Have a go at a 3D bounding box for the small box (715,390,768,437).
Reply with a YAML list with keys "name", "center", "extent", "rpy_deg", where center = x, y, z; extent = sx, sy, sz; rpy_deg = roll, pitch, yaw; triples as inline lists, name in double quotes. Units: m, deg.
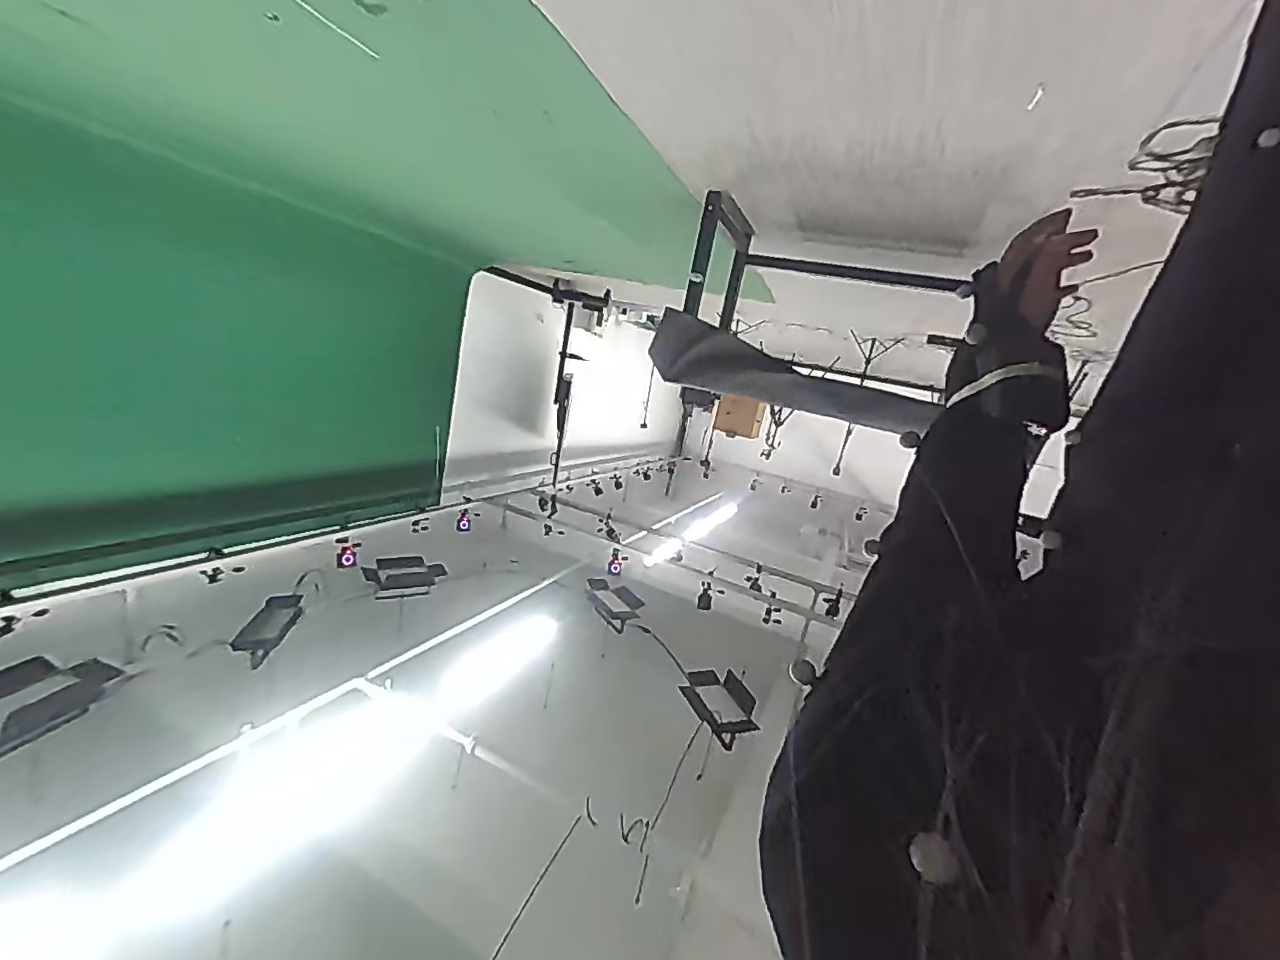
- name: "small box"
  center: [0.440, -0.291, 2.338]
  extent: [0.168, 0.176, 0.179]
  rpy_deg: [18, -165, 22]
